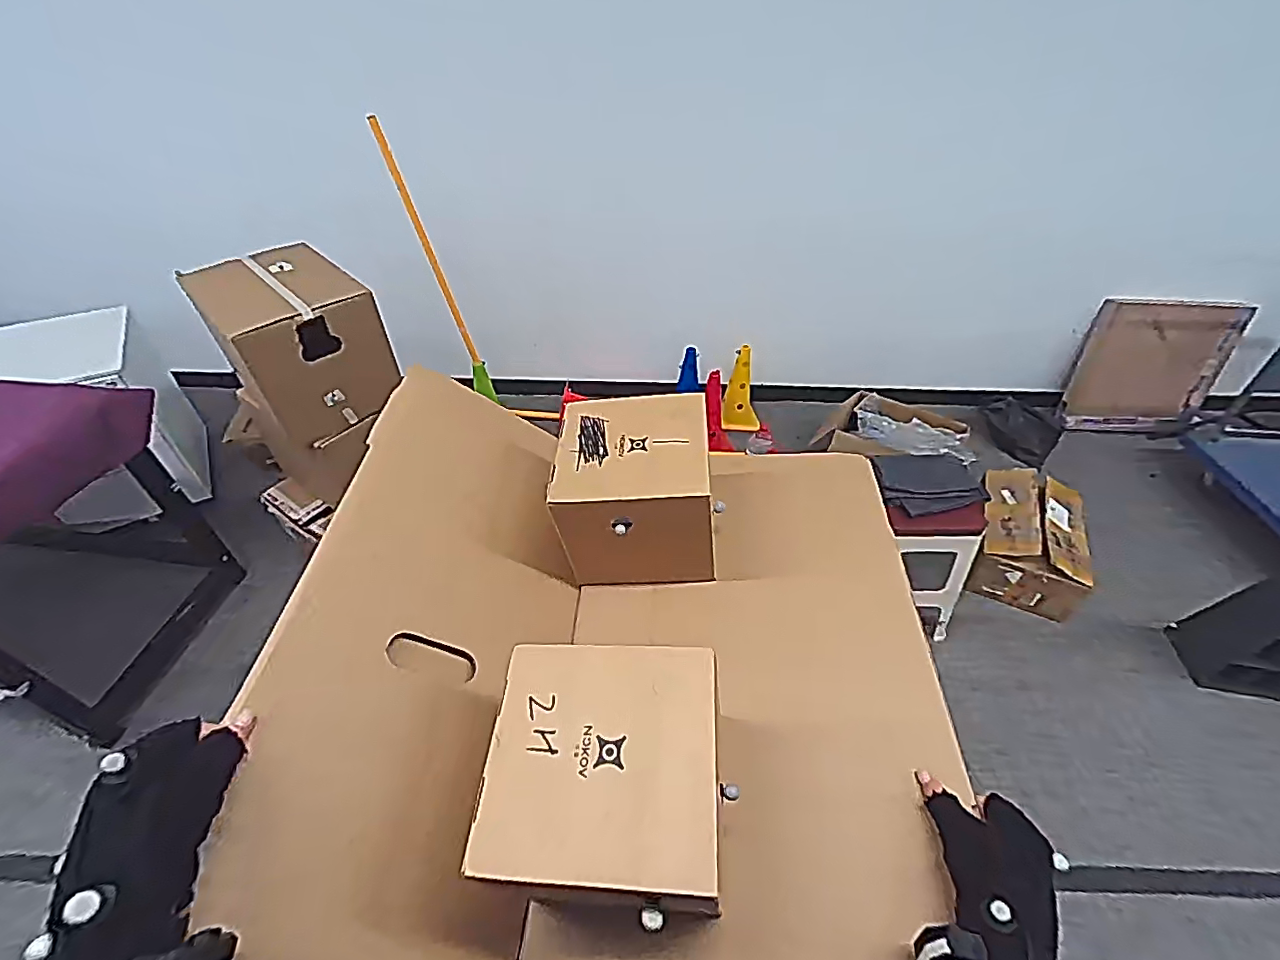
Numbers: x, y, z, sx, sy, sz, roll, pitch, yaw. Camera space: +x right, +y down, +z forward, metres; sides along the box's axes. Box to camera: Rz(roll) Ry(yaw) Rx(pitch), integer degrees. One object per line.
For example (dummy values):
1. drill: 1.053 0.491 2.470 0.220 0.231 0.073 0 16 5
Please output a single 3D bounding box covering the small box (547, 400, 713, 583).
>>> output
1. small box: 0.000 0.019 0.684 0.179 0.176 0.168 -2 49 7
